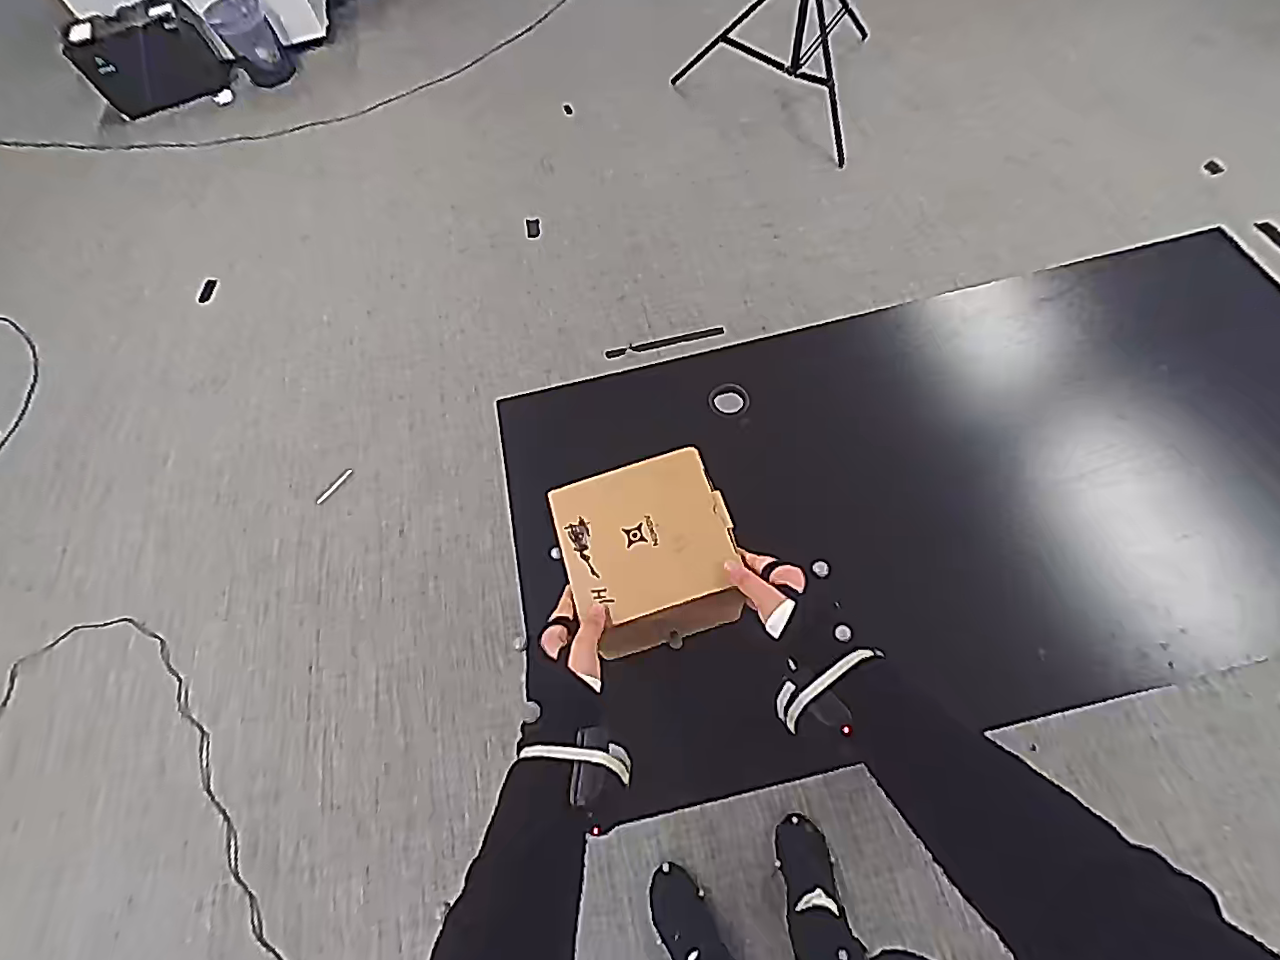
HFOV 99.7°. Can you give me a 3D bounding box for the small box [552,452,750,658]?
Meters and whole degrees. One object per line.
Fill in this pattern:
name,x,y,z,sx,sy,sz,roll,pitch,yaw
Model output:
small box,0.011,0.095,0.637,0.179,0.176,0.168,-17,62,-4
